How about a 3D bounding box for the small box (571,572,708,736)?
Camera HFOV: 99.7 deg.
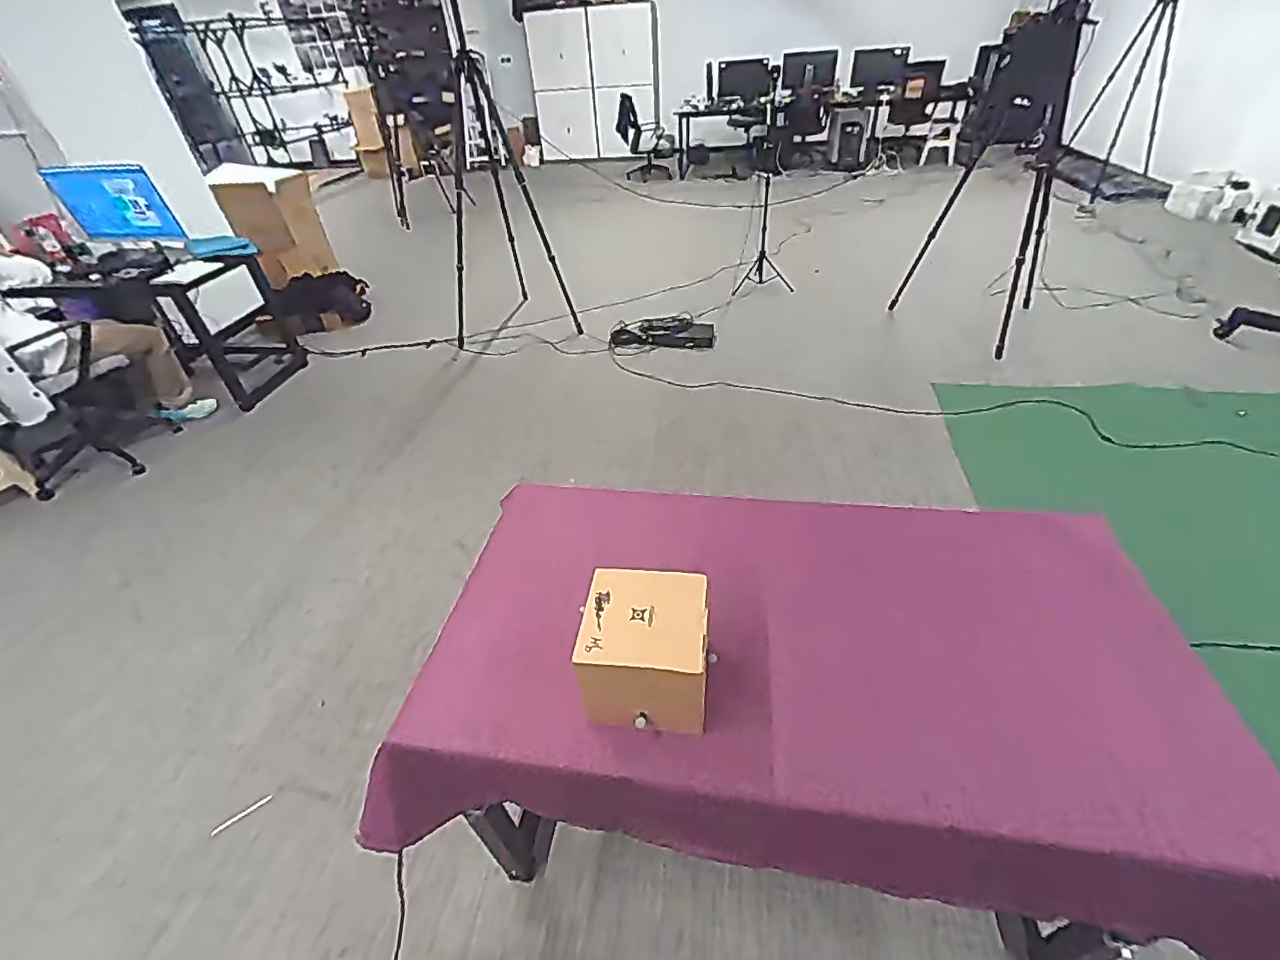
[{"bbox_3d":[0.008,0.261,0.810,0.179,0.176,0.168,3,39,8],"label":"small box"}]
